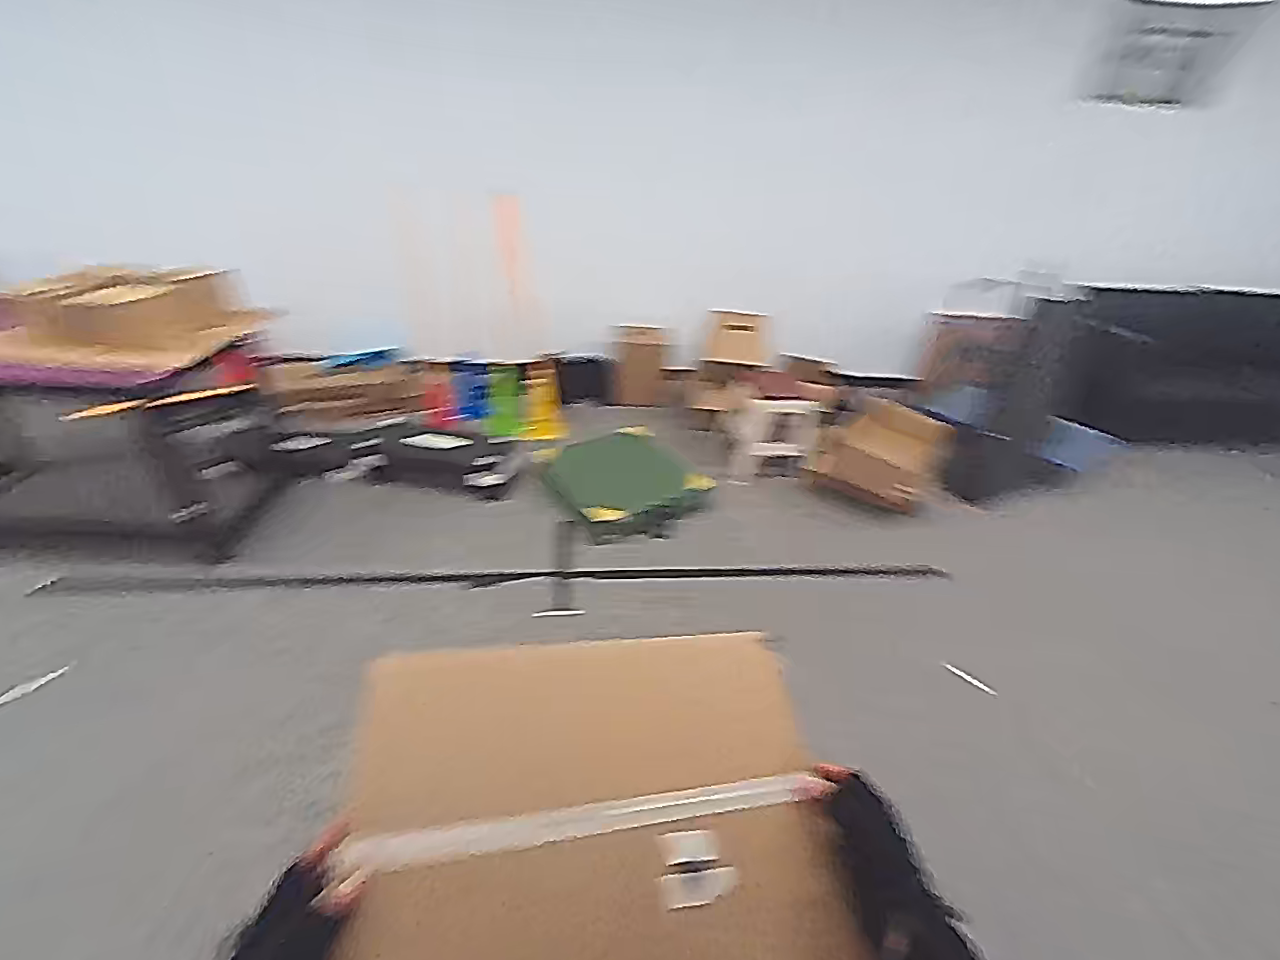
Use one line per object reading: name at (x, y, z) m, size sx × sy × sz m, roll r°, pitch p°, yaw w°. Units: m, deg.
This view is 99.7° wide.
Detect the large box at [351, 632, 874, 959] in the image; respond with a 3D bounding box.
large box at (-0.054, 0.386, 0.581) m, size 0.408 × 0.320 × 0.320 m, roll 2°, pitch 48°, yaw -14°
